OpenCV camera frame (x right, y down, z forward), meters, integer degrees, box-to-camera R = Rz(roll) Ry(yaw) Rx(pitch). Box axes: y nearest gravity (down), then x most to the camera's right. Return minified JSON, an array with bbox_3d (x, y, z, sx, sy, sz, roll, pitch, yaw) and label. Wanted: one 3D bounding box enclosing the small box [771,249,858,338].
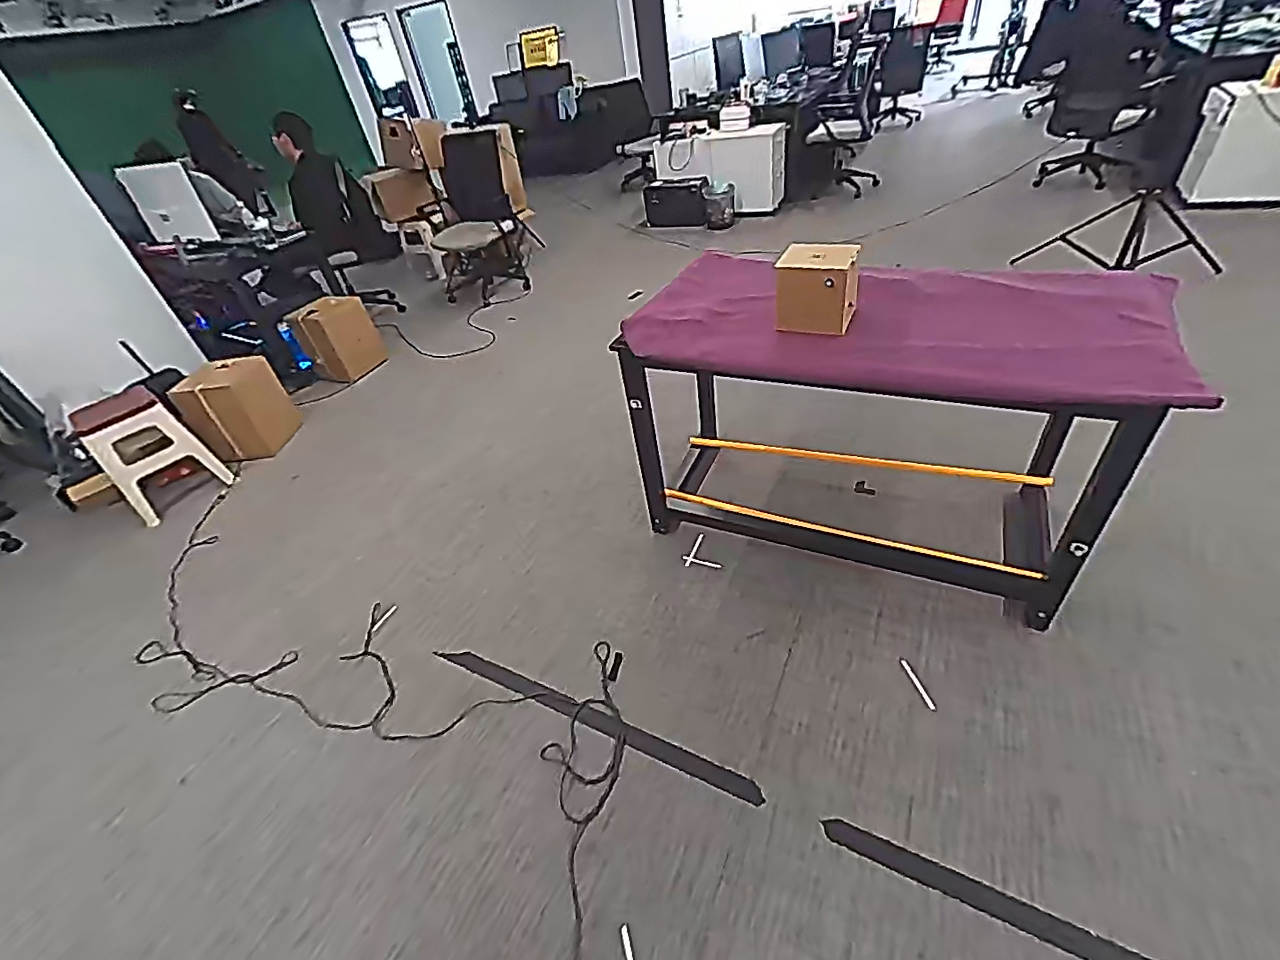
[{"bbox_3d":[0.441,-0.477,1.381,0.179,0.176,0.168,13,44,25],"label":"small box"}]
